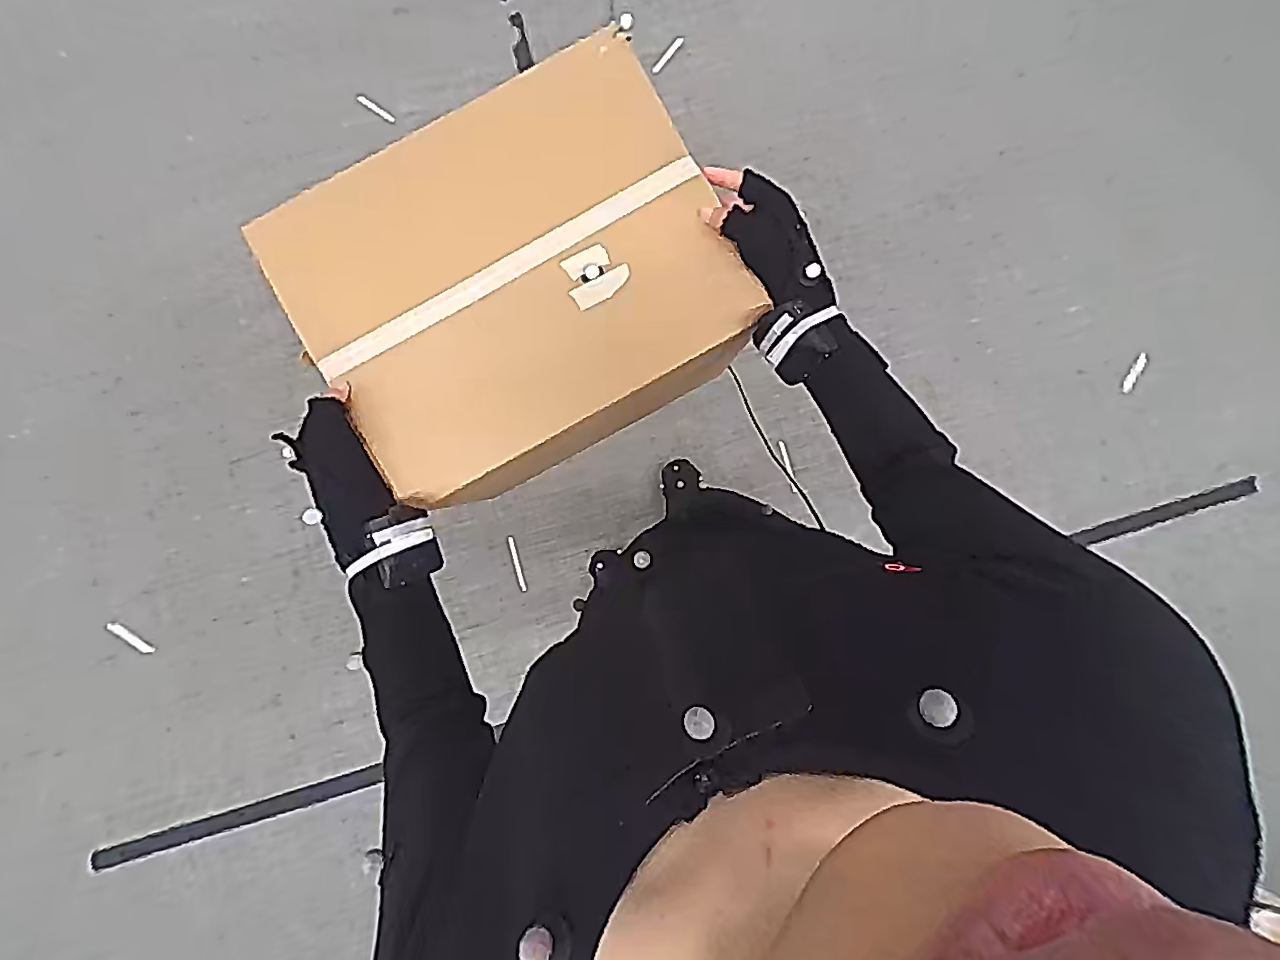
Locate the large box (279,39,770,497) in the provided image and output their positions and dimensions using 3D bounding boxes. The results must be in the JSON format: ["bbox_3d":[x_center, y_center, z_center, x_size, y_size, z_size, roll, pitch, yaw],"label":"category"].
[{"bbox_3d":[-0.116,-0.207,0.680,0.408,0.320,0.320,-29,91,-1],"label":"large box"}]
